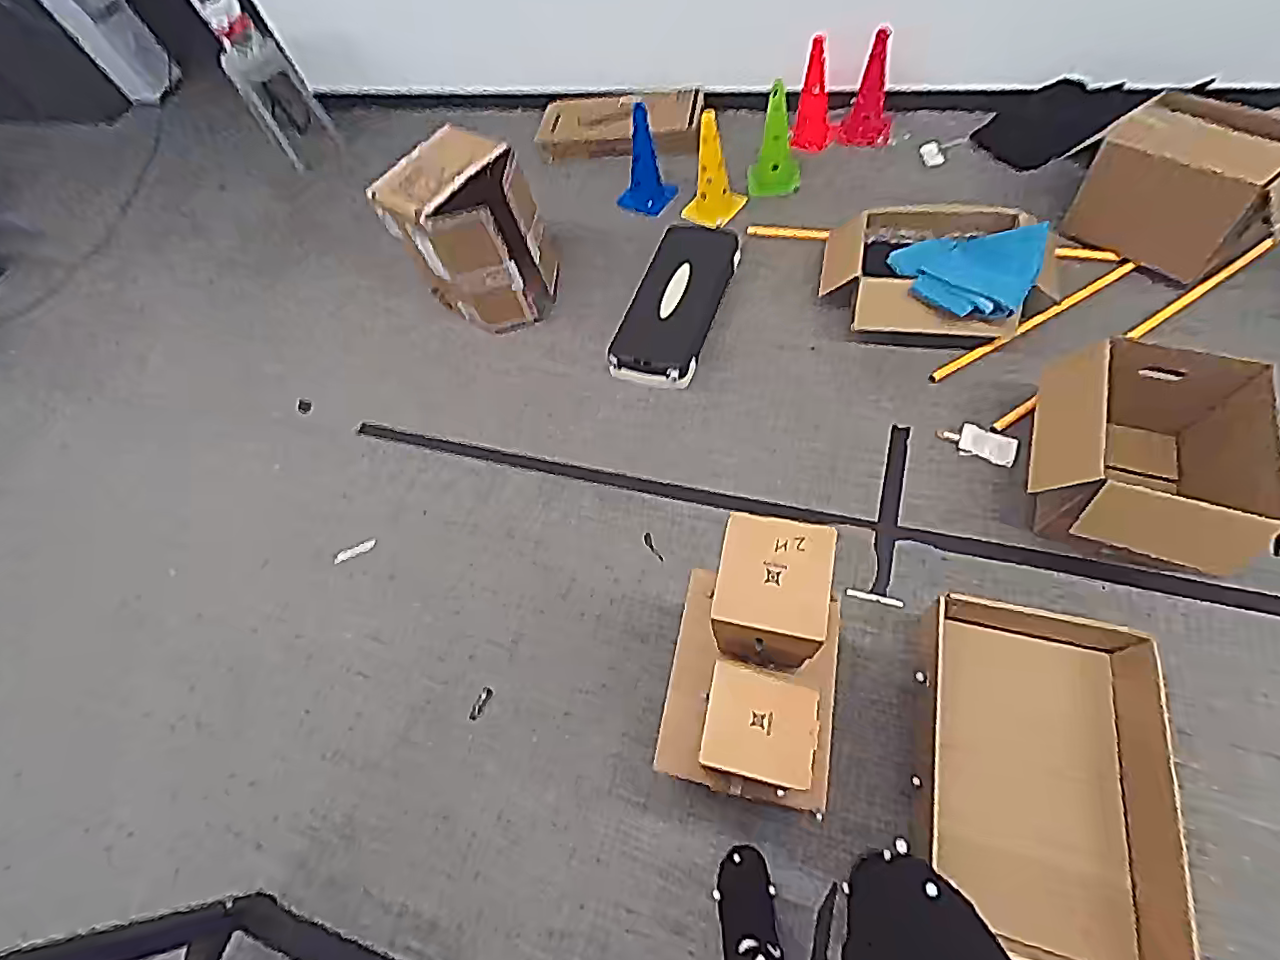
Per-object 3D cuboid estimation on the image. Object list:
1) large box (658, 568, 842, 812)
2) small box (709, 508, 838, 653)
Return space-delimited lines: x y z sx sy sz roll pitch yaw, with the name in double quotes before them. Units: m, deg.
"large box" 0.243 0.448 1.184 0.320 0.320 0.408 8 65 14
"small box" 0.213 0.167 0.869 0.168 0.176 0.179 9 66 14
